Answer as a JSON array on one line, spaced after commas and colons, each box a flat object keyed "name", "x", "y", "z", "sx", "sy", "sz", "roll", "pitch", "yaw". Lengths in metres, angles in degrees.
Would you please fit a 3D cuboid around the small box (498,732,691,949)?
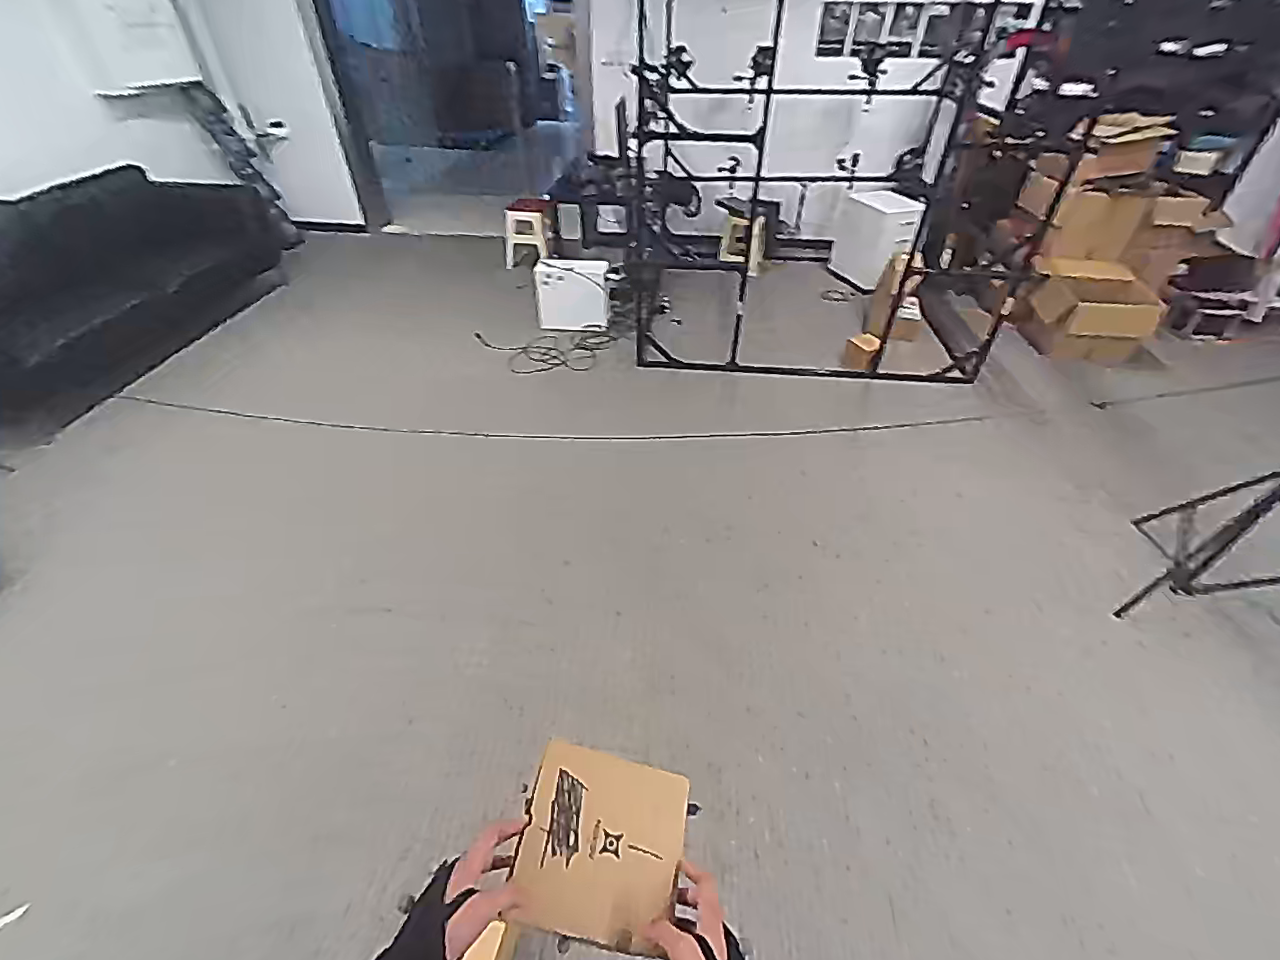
[{"name": "small box", "x": -0.057, "y": 0.426, "z": 0.639, "sx": 0.179, "sy": 0.176, "sz": 0.168, "roll": 19, "pitch": 49, "yaw": -4}]

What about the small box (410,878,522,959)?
[{"name": "small box", "x": -0.384, "y": 1.039, "z": 1.221, "sx": 0.179, "sy": 0.176, "sz": 0.168, "roll": 9, "pitch": 43, "yaw": 11}]
